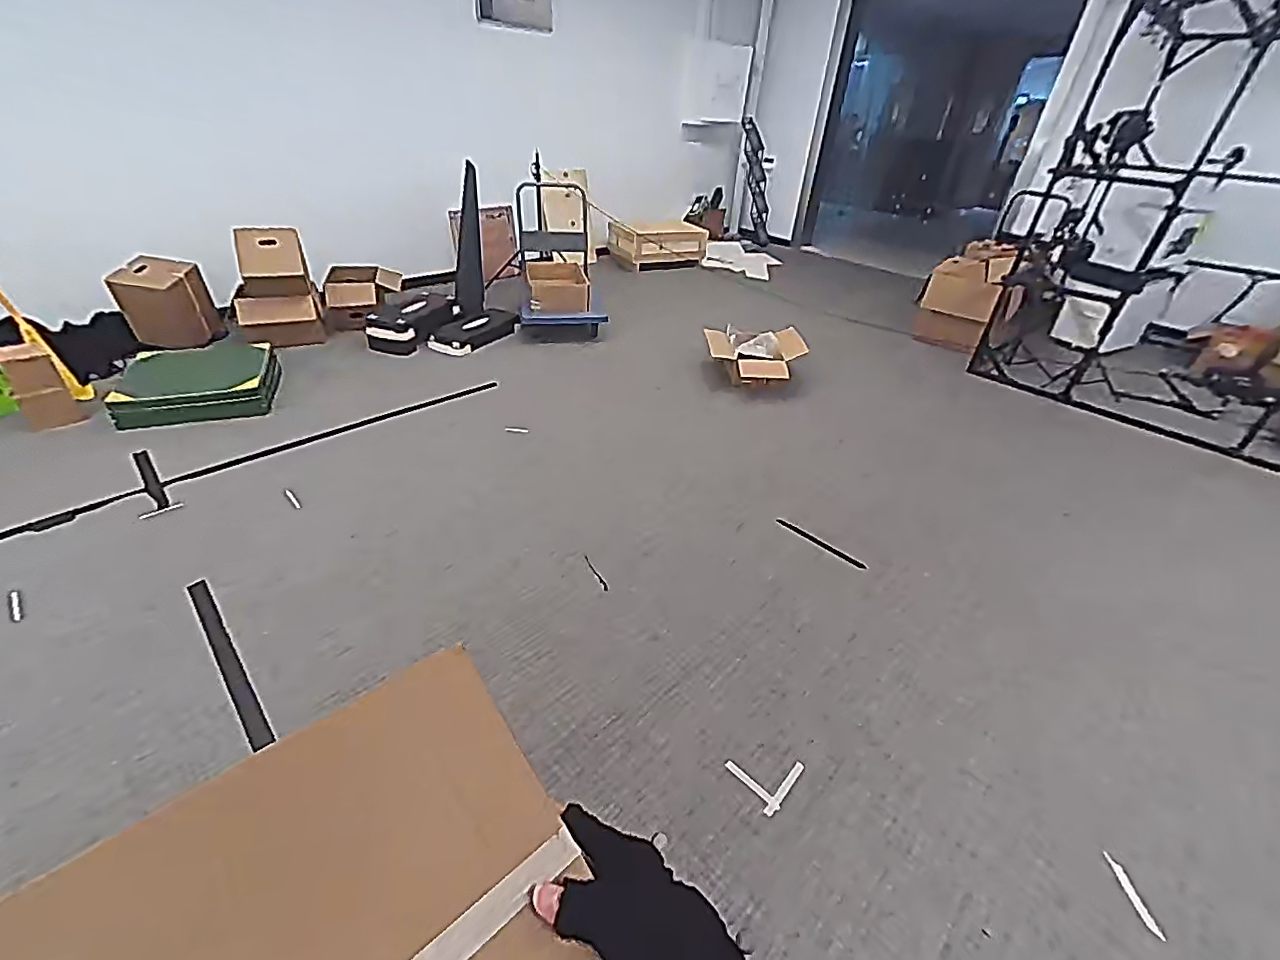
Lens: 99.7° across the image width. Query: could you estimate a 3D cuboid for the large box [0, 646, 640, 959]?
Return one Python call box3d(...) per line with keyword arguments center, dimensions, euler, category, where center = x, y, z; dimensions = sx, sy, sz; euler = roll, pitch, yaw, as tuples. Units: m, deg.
box3d(center=(-0.255, 0.387, 0.380), dimensions=(0.408, 0.320, 0.320), euler=(-26, 77, -35), category="large box")
